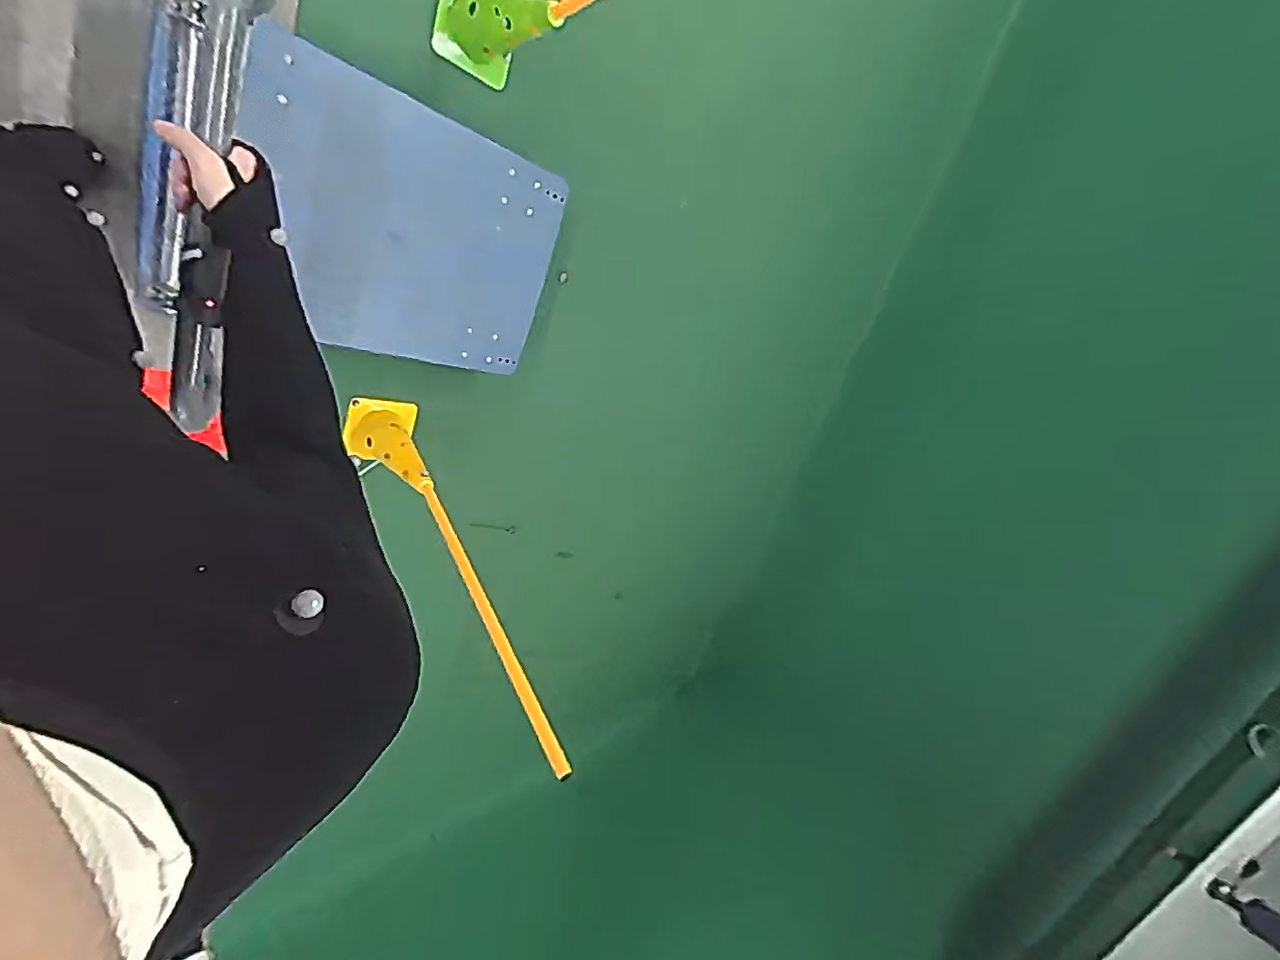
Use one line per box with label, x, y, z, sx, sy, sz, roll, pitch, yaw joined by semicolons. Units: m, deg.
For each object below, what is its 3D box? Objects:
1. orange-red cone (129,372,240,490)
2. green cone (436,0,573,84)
orange-red cone;-0.981;-0.079;1.205;0.199;0.360;0.198;-1;119;-49
green cone;-0.276;-1.038;1.215;0.202;0.368;0.200;-1;118;-48
